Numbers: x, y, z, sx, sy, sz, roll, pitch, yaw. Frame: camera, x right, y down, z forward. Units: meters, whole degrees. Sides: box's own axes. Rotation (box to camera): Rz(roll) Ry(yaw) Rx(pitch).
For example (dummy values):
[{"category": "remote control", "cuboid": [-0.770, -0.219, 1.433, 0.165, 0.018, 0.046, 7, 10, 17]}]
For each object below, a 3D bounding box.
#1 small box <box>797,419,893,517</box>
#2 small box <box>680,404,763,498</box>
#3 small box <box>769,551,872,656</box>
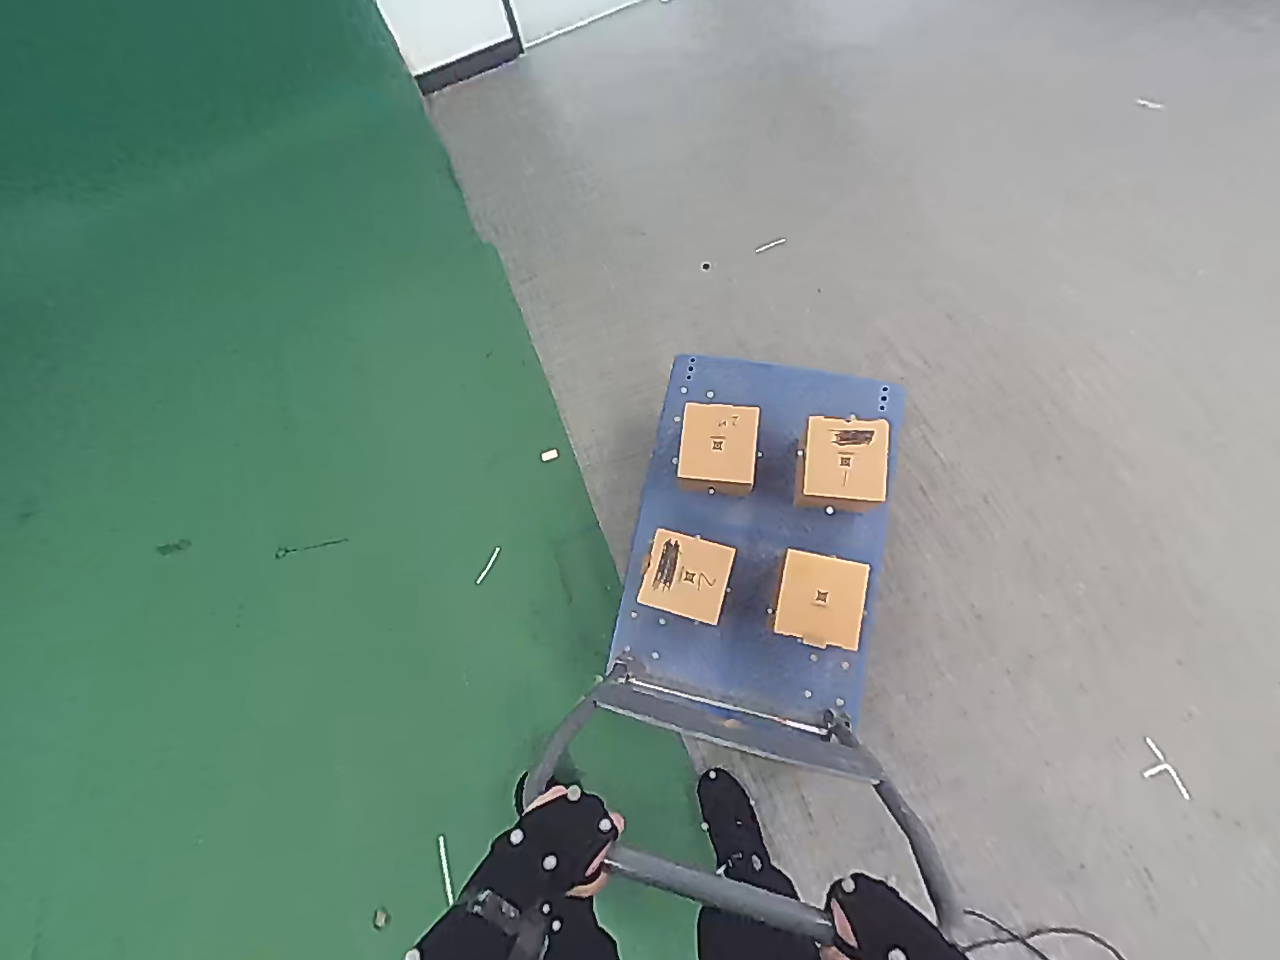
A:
[{"category": "small box", "cuboid": [0.452, -0.021, 1.211, 0.168, 0.176, 0.179, 6, 80, 10]}, {"category": "small box", "cuboid": [0.190, -0.061, 1.256, 0.168, 0.176, 0.179, 7, 79, 9]}, {"category": "small box", "cuboid": [0.379, 0.262, 1.162, 0.168, 0.176, 0.179, 12, 81, 10]}]
